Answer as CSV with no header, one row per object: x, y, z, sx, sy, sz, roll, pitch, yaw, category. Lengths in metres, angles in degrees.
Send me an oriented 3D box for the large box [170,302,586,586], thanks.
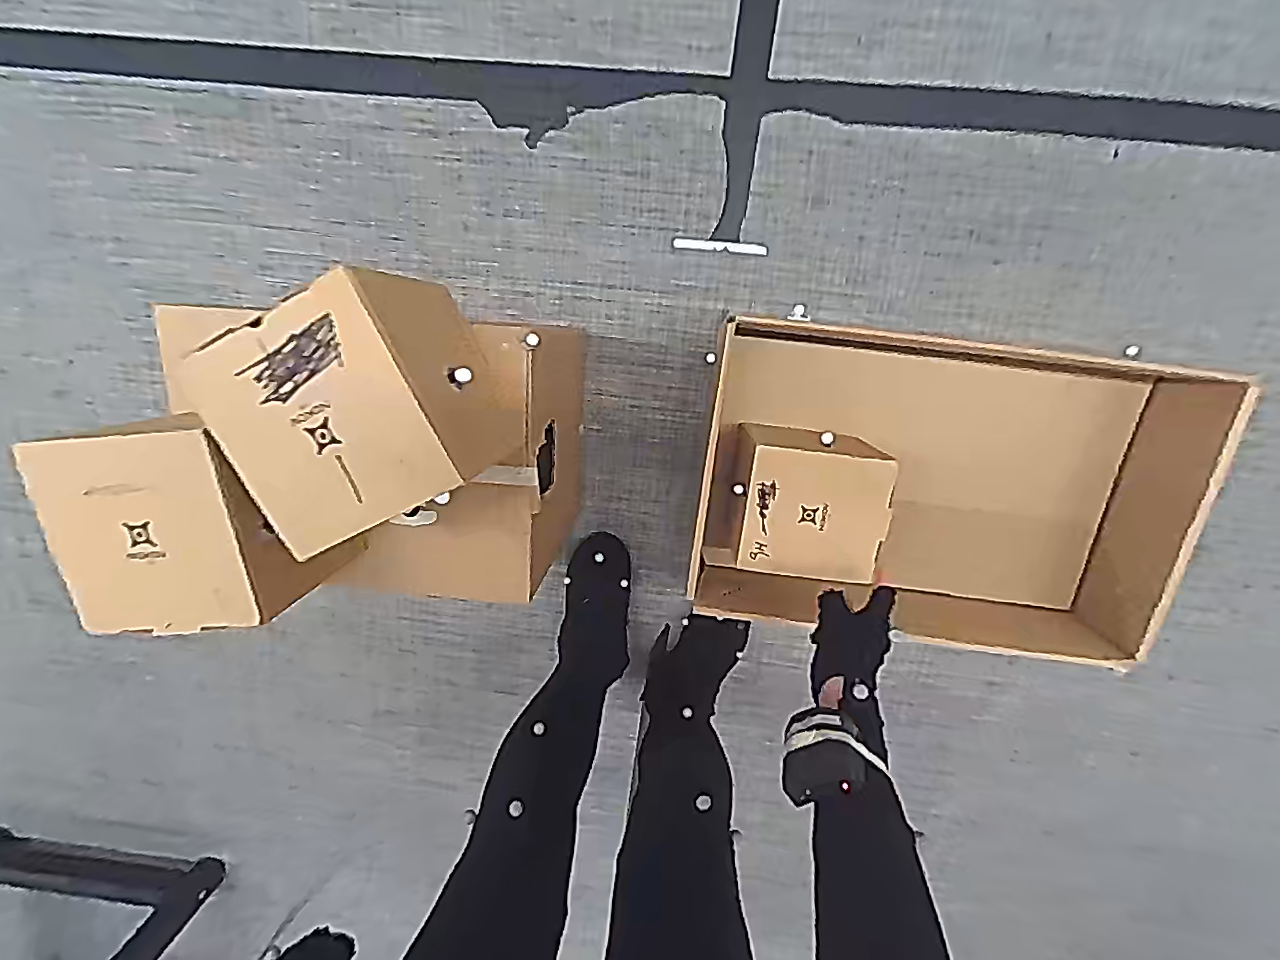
-0.297,-0.071,0.742,0.408,0.320,0.320,3,107,3,large box

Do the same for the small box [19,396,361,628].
-0.403,0.021,0.524,0.168,0.176,0.179,-5,104,4,small box

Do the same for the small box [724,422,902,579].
0.221,0.019,0.741,0.179,0.176,0.168,7,105,1,small box
